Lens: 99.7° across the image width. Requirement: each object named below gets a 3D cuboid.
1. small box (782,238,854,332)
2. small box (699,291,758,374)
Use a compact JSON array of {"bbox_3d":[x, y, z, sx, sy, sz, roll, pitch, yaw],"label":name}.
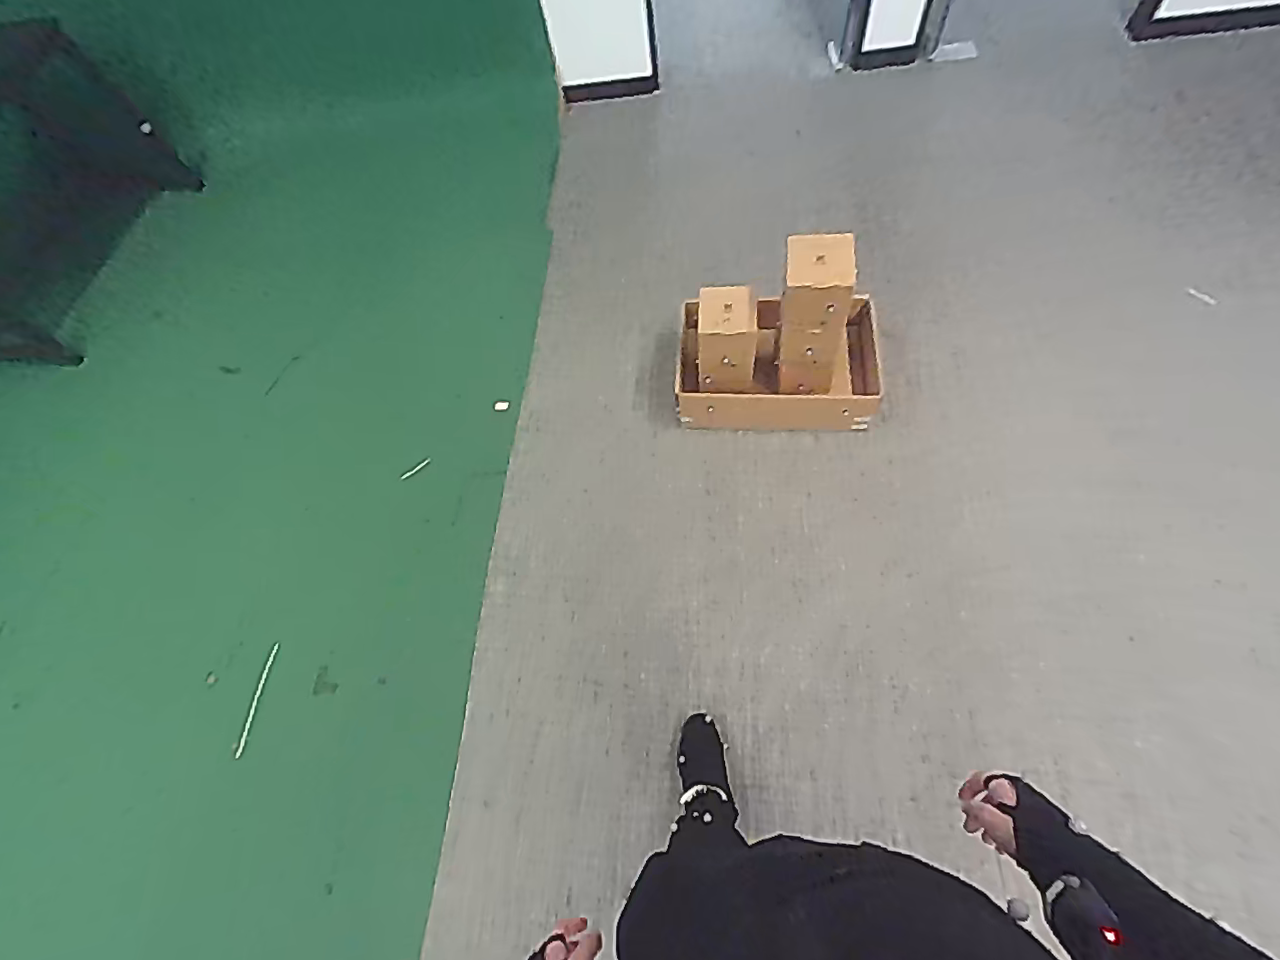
[{"bbox_3d":[0.472,-0.513,1.443,0.168,0.176,0.179,3,65,12],"label":"small box"},{"bbox_3d":[0.262,-0.439,1.615,0.168,0.176,0.179,1,64,8],"label":"small box"}]
